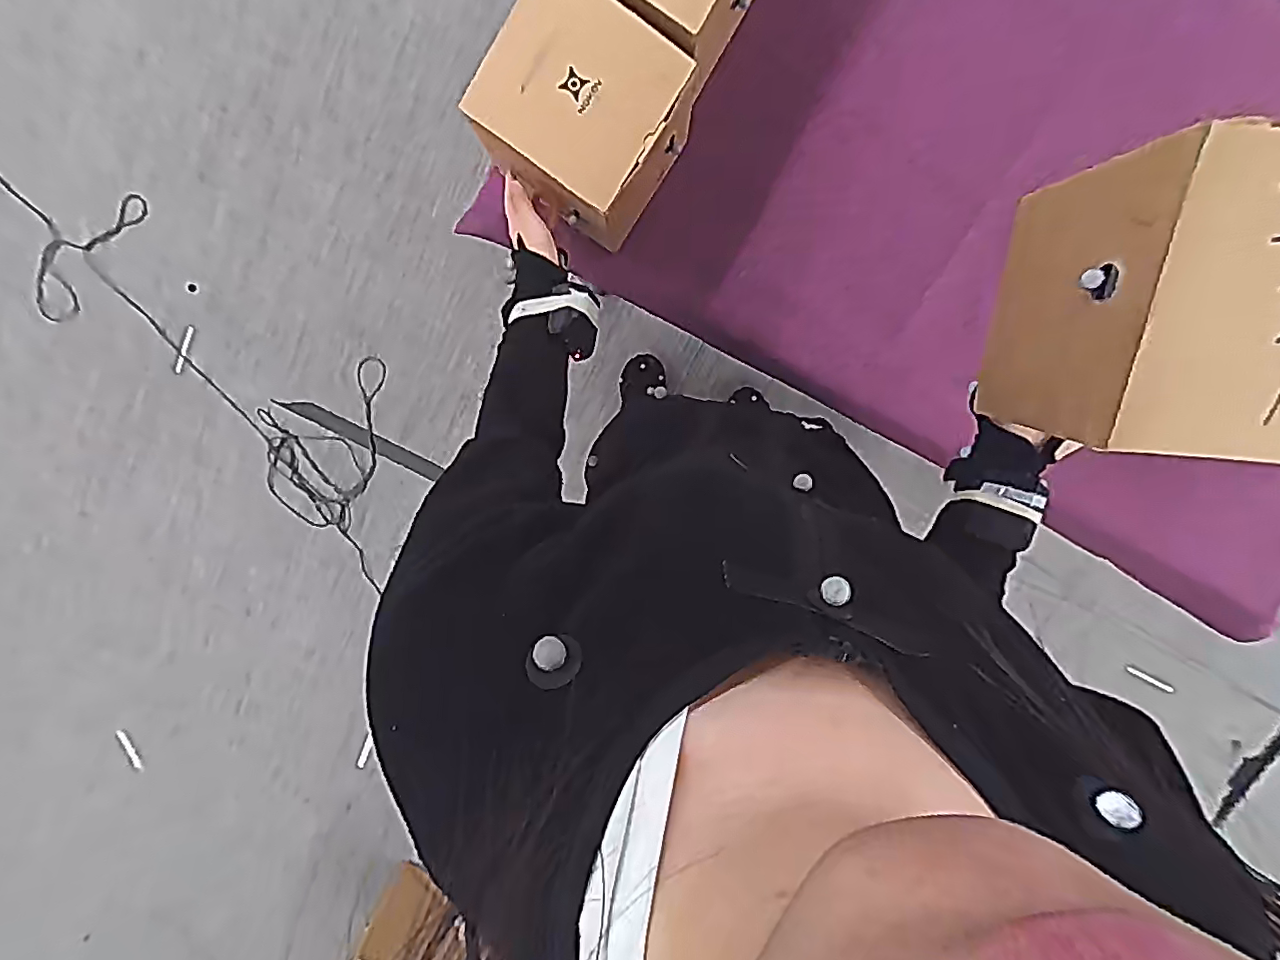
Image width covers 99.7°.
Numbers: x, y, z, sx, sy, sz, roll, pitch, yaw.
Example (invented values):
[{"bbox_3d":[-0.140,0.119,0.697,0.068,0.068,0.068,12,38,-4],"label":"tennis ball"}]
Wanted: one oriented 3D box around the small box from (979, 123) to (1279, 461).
[{"bbox_3d":[0.374,-0.116,0.378,0.168,0.176,0.179,6,106,4],"label":"small box"}]
